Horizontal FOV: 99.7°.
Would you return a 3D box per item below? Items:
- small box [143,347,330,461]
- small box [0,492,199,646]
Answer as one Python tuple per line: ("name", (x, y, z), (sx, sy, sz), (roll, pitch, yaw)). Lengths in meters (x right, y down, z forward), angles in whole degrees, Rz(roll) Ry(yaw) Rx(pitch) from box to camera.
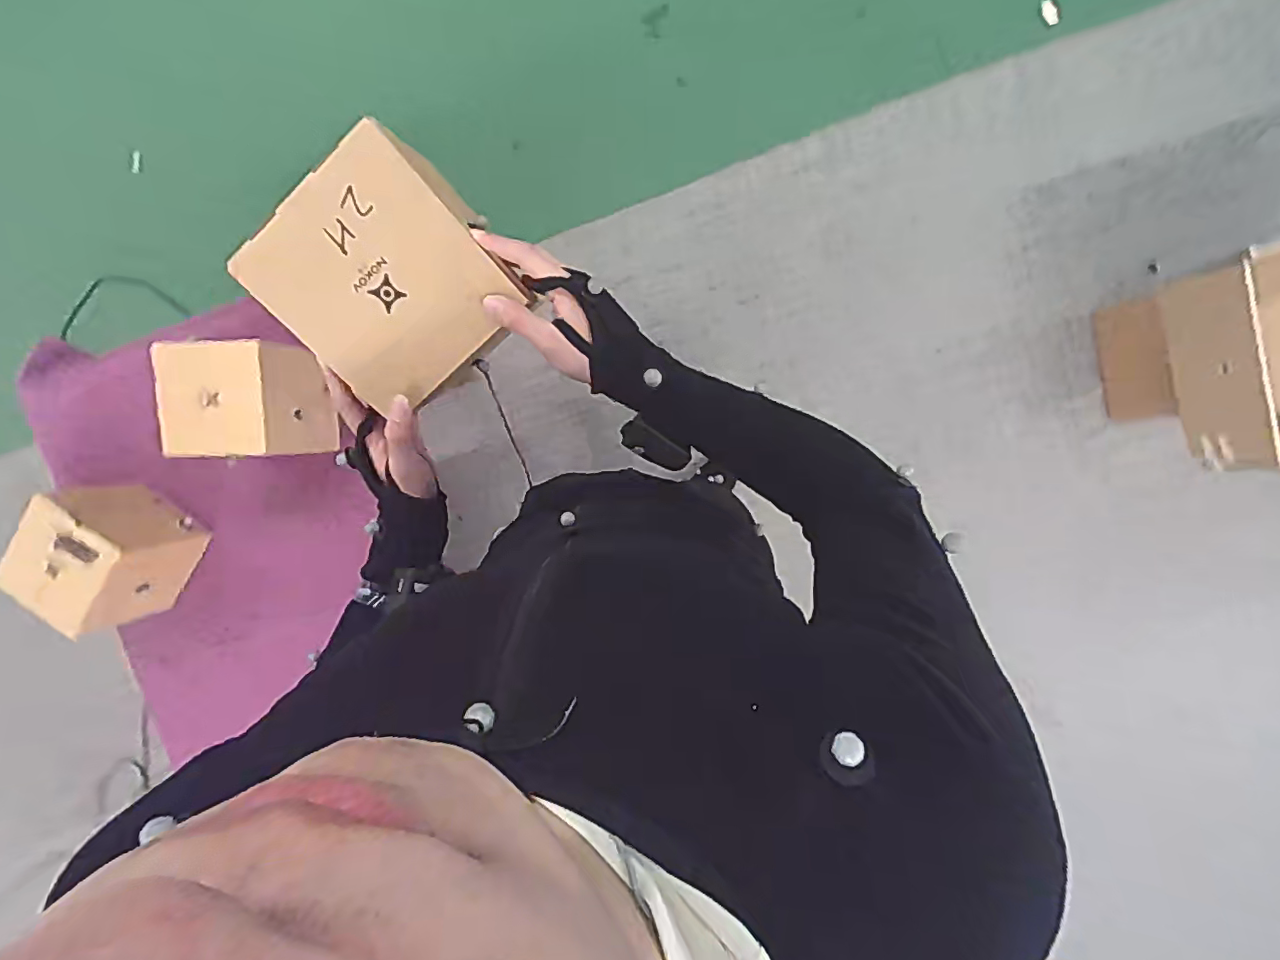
("small box", (-0.624, -0.119, 0.861), (0.179, 0.176, 0.168), (0, 97, 7))
("small box", (-0.905, 0.137, 0.912), (0.168, 0.176, 0.179), (34, 97, 1))
